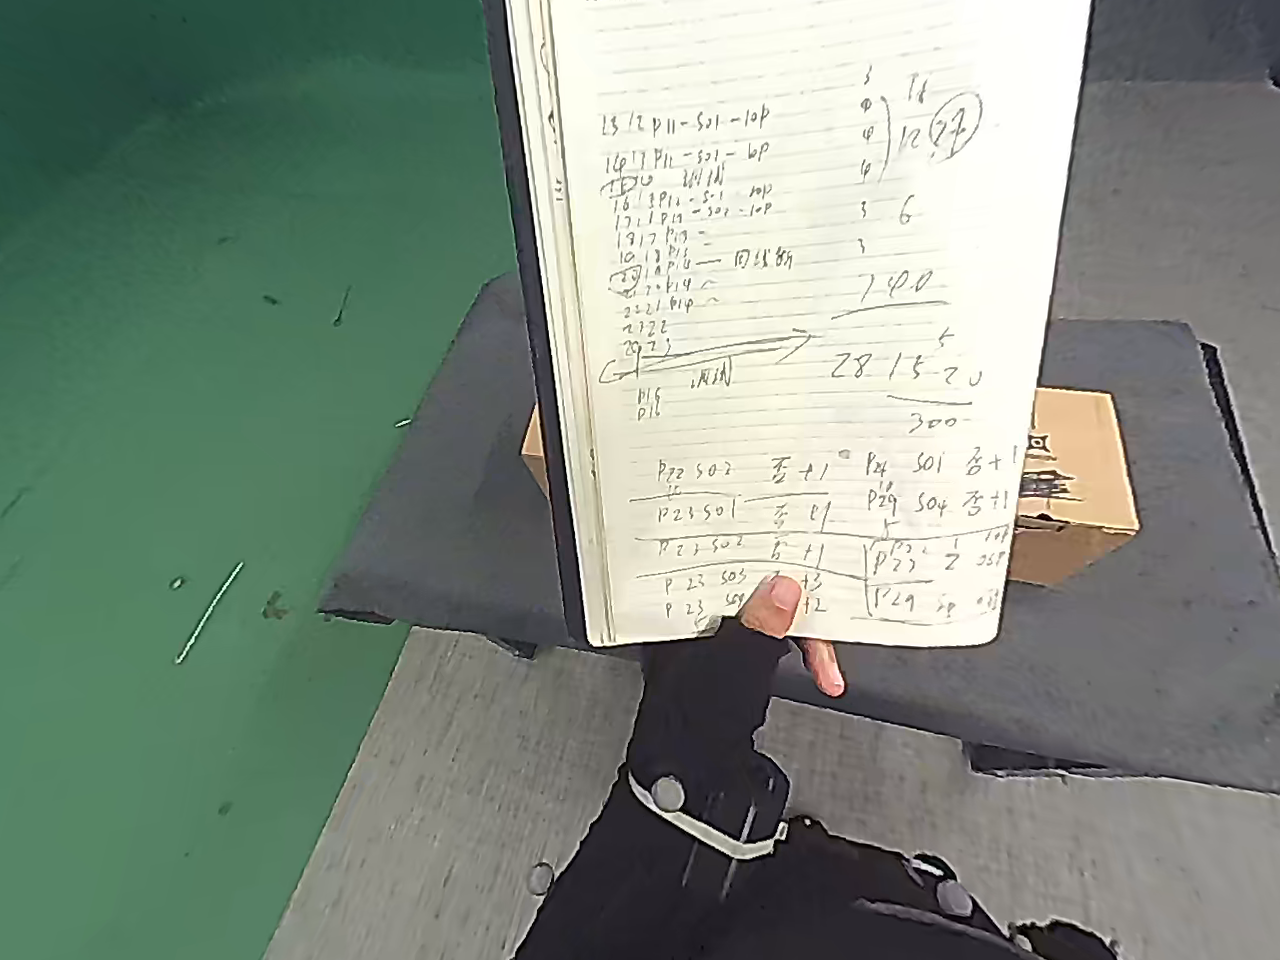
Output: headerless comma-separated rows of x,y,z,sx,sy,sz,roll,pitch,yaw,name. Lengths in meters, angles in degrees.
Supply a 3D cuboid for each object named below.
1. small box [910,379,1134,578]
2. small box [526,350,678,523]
0.442,0.004,0.659,0.168,0.176,0.179,8,62,13,small box
-0.040,-0.060,0.764,0.168,0.176,0.179,5,62,11,small box
